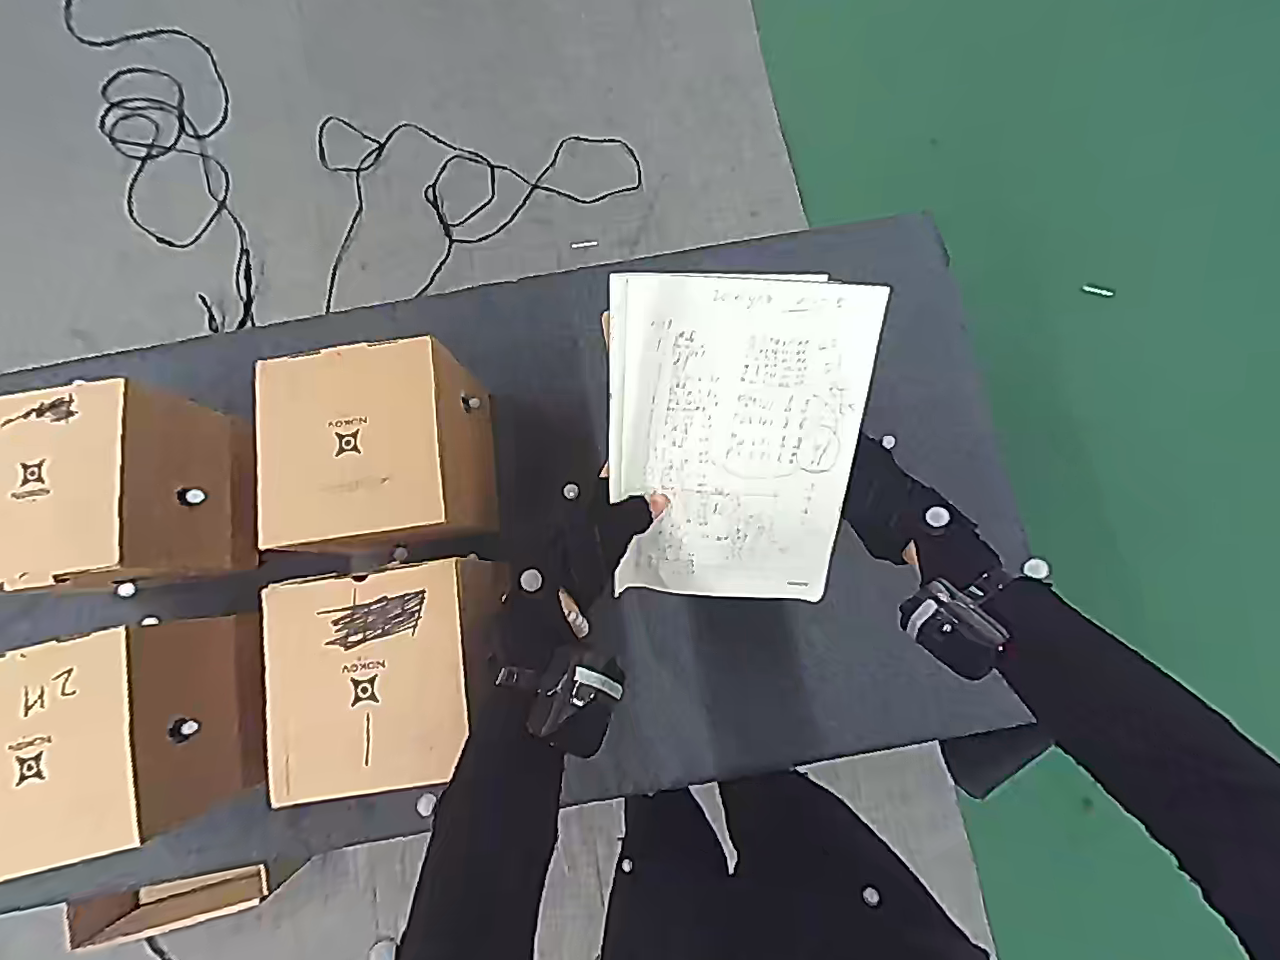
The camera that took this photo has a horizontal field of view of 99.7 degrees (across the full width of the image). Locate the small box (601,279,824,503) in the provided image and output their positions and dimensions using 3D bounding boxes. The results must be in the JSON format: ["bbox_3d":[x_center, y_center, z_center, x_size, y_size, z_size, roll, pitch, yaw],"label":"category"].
[{"bbox_3d":[0.064,-0.077,0.557,0.179,0.176,0.168,-10,80,1],"label":"small box"}]
